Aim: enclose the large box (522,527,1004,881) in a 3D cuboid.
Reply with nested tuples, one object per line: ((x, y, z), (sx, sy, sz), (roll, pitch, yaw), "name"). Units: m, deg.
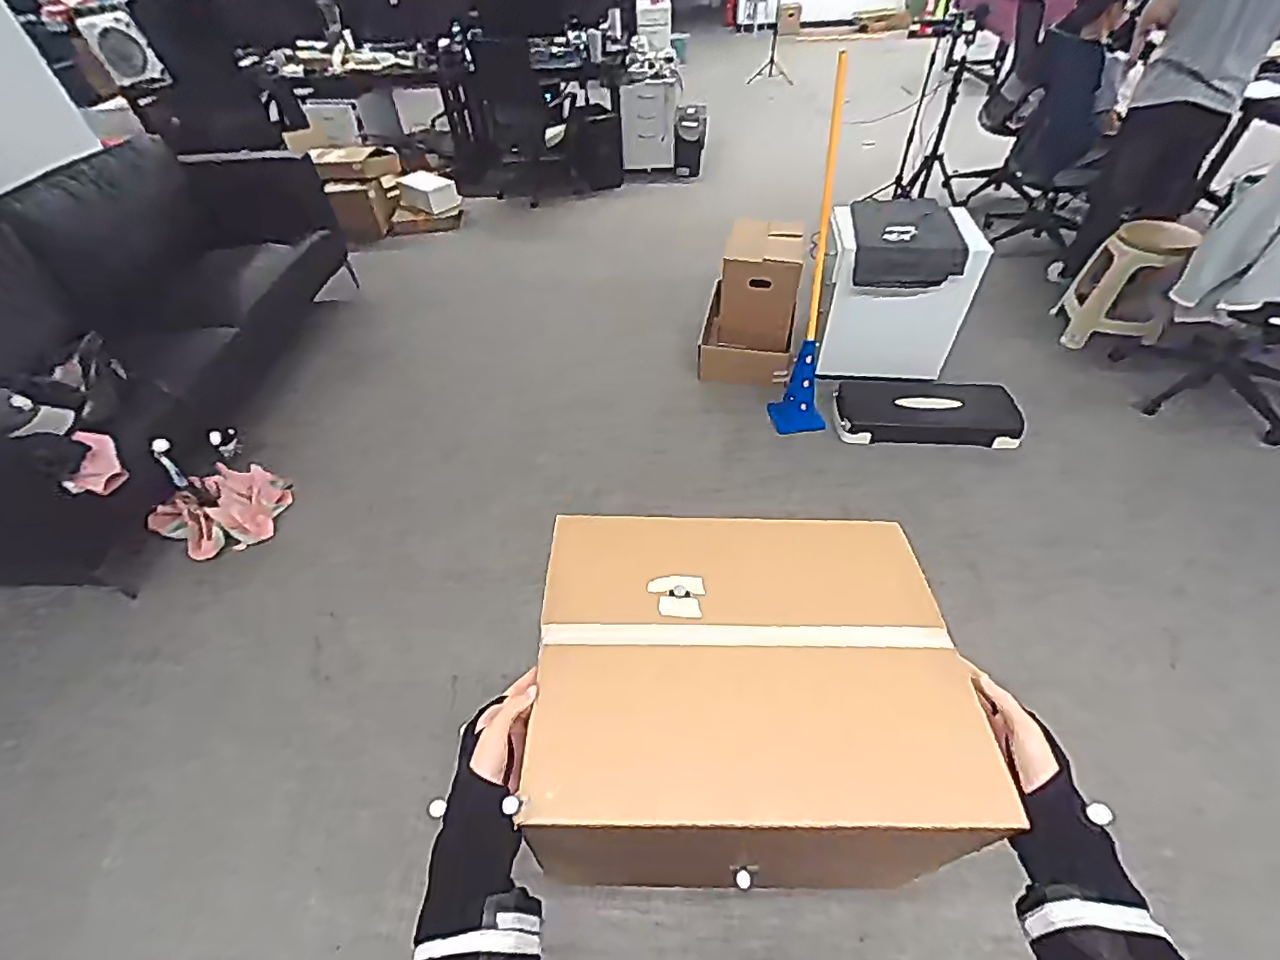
((0.100, 0.270, 0.646), (0.408, 0.320, 0.320), (0, 46, -1), "large box")
